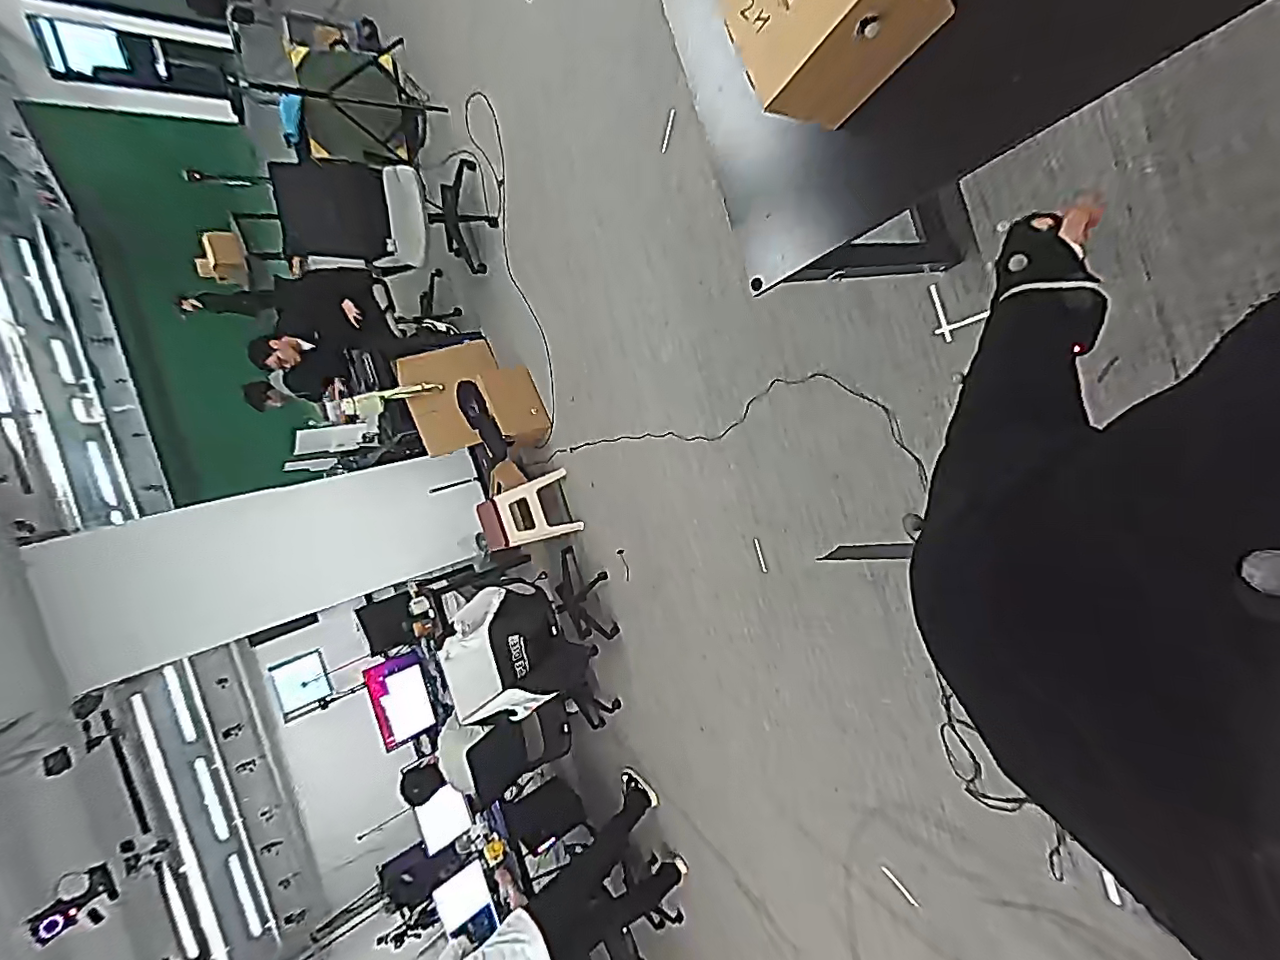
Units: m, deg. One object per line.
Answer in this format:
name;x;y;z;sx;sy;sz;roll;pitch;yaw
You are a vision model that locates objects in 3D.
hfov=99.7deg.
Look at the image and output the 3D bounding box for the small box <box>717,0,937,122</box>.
small box;0.234;-0.586;0.668;0.179;0.176;0.168;-28;82;55
